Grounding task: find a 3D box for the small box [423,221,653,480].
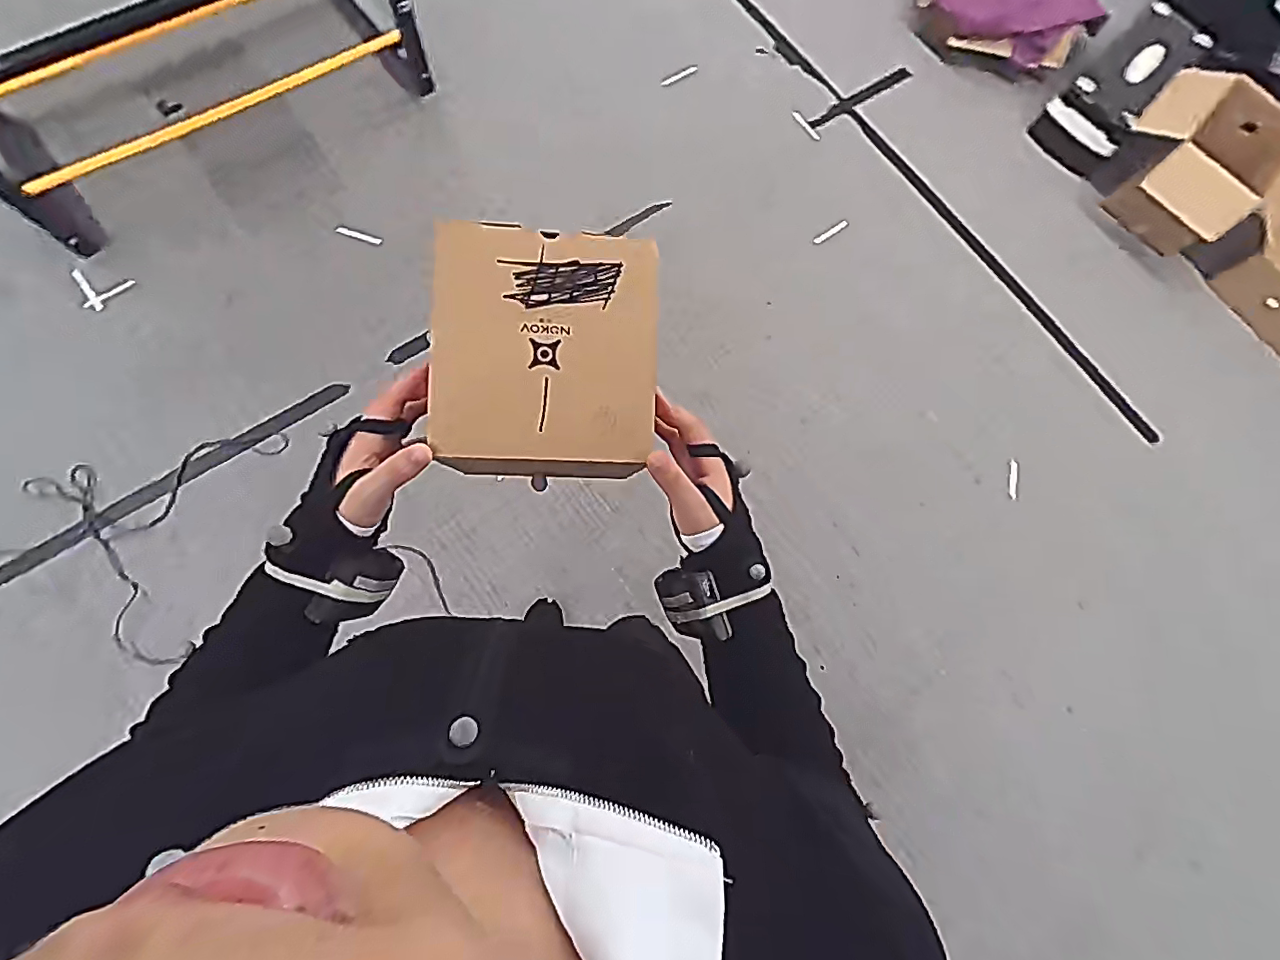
[{"bbox_3d":[-0.083,-0.095,0.477,0.168,0.176,0.179,0,86,-8],"label":"small box"}]
